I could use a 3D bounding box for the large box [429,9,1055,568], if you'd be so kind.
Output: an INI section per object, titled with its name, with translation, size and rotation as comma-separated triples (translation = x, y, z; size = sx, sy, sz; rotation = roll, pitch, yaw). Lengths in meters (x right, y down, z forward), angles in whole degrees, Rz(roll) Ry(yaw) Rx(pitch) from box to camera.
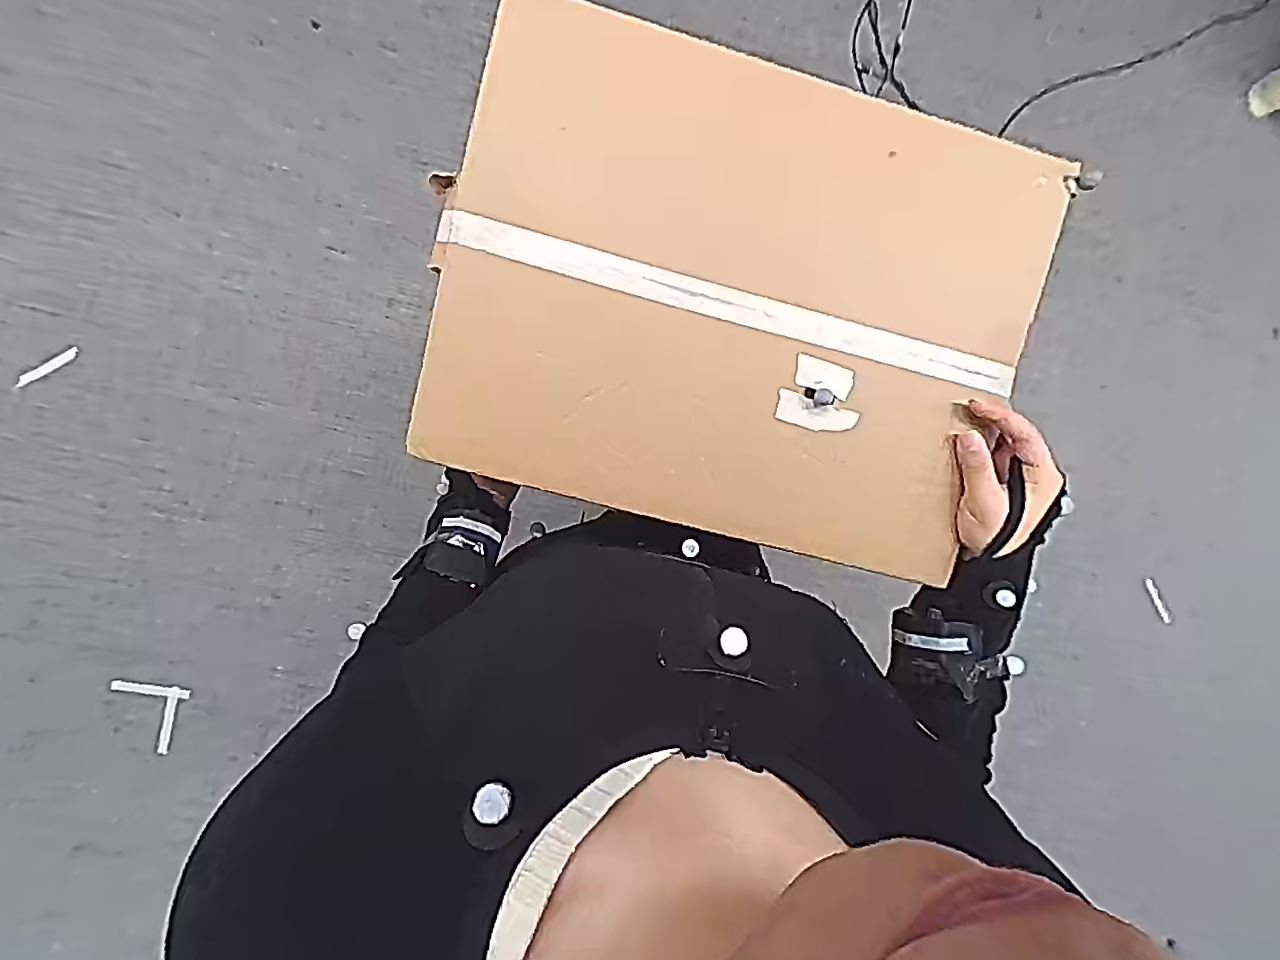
[large box]
translation = 0.063, -0.135, 0.530
size = 0.408, 0.320, 0.320
rotation = 13, 96, -6
